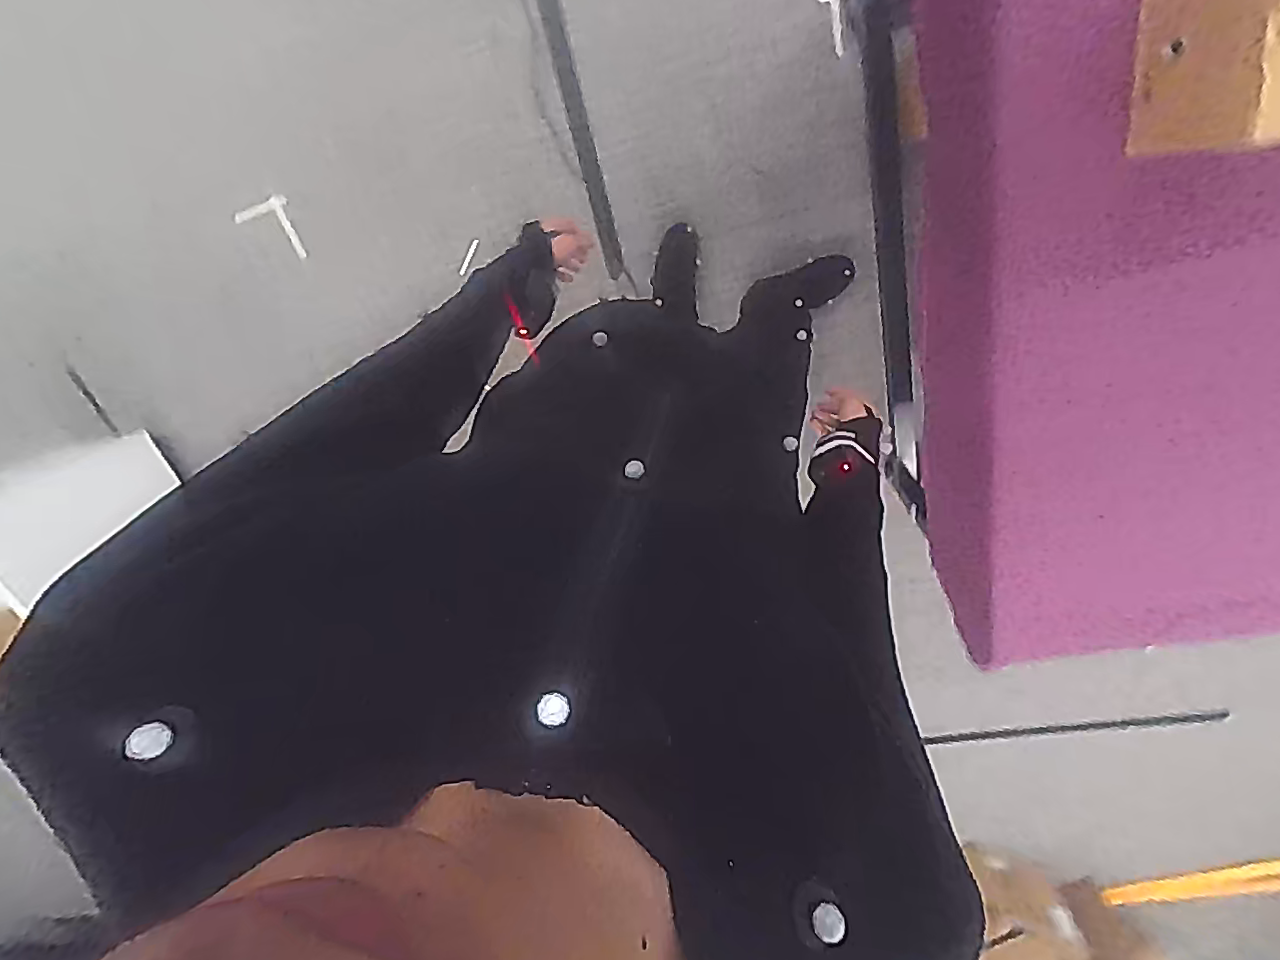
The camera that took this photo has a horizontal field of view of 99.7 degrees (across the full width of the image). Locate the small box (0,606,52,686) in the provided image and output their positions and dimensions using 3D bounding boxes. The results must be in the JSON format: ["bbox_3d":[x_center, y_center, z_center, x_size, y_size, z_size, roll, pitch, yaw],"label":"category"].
[{"bbox_3d":[-1.743,0.452,1.425,0.179,0.176,0.168,-8,118,12],"label":"small box"}]

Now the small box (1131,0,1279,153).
[{"bbox_3d":[0.635,-0.432,0.517,0.179,0.176,0.168,-11,116,13],"label":"small box"}]
